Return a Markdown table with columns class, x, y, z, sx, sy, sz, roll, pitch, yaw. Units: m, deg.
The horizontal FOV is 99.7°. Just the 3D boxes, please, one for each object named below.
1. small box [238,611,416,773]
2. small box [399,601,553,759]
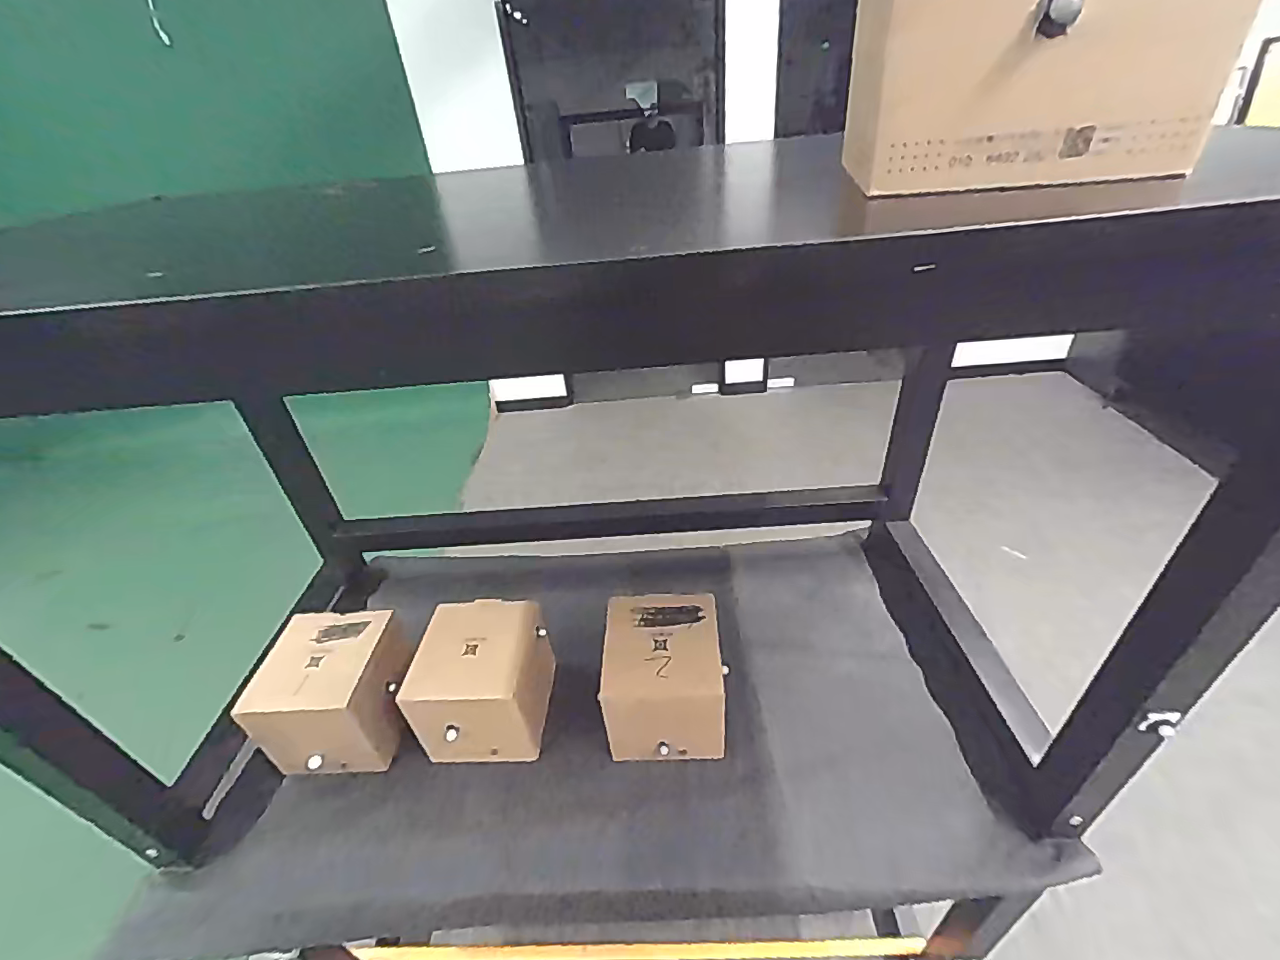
| class | x | y | z | sx | sy | sz | roll | pitch | yaw |
| --- | --- | --- | --- | --- | --- | --- | --- | --- | --- |
| small box | -0.467 | 0.331 | 0.851 | 0.168 | 0.176 | 0.179 | -4 | 35 | 3 |
| small box | -0.240 | 0.314 | 0.846 | 0.168 | 0.176 | 0.179 | -3 | 34 | 4 |
